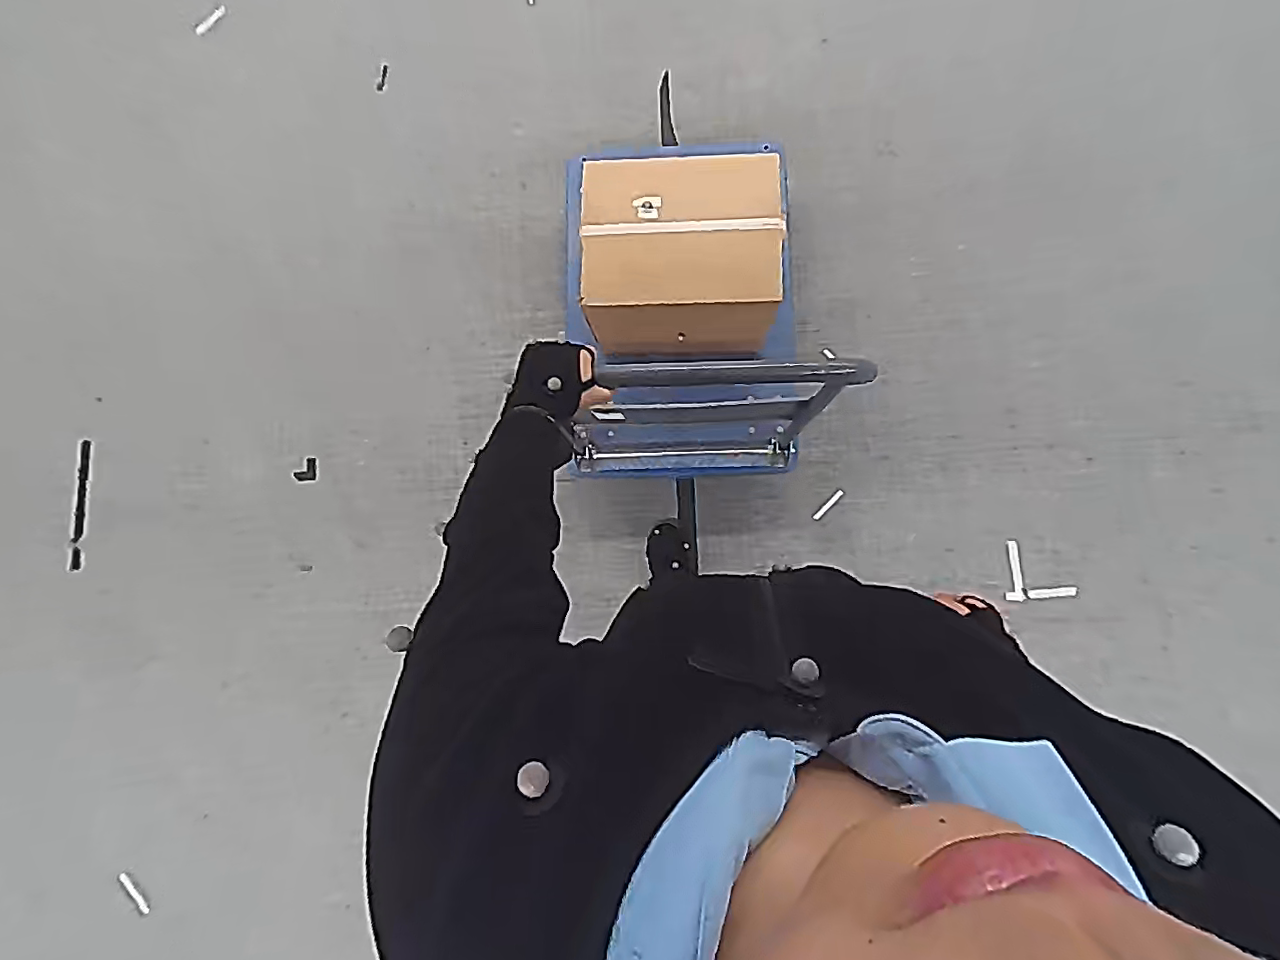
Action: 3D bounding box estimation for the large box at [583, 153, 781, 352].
[{"bbox_3d":[0.097,-0.496,1.251,0.408,0.320,0.320,0,83,6],"label":"large box"}]
